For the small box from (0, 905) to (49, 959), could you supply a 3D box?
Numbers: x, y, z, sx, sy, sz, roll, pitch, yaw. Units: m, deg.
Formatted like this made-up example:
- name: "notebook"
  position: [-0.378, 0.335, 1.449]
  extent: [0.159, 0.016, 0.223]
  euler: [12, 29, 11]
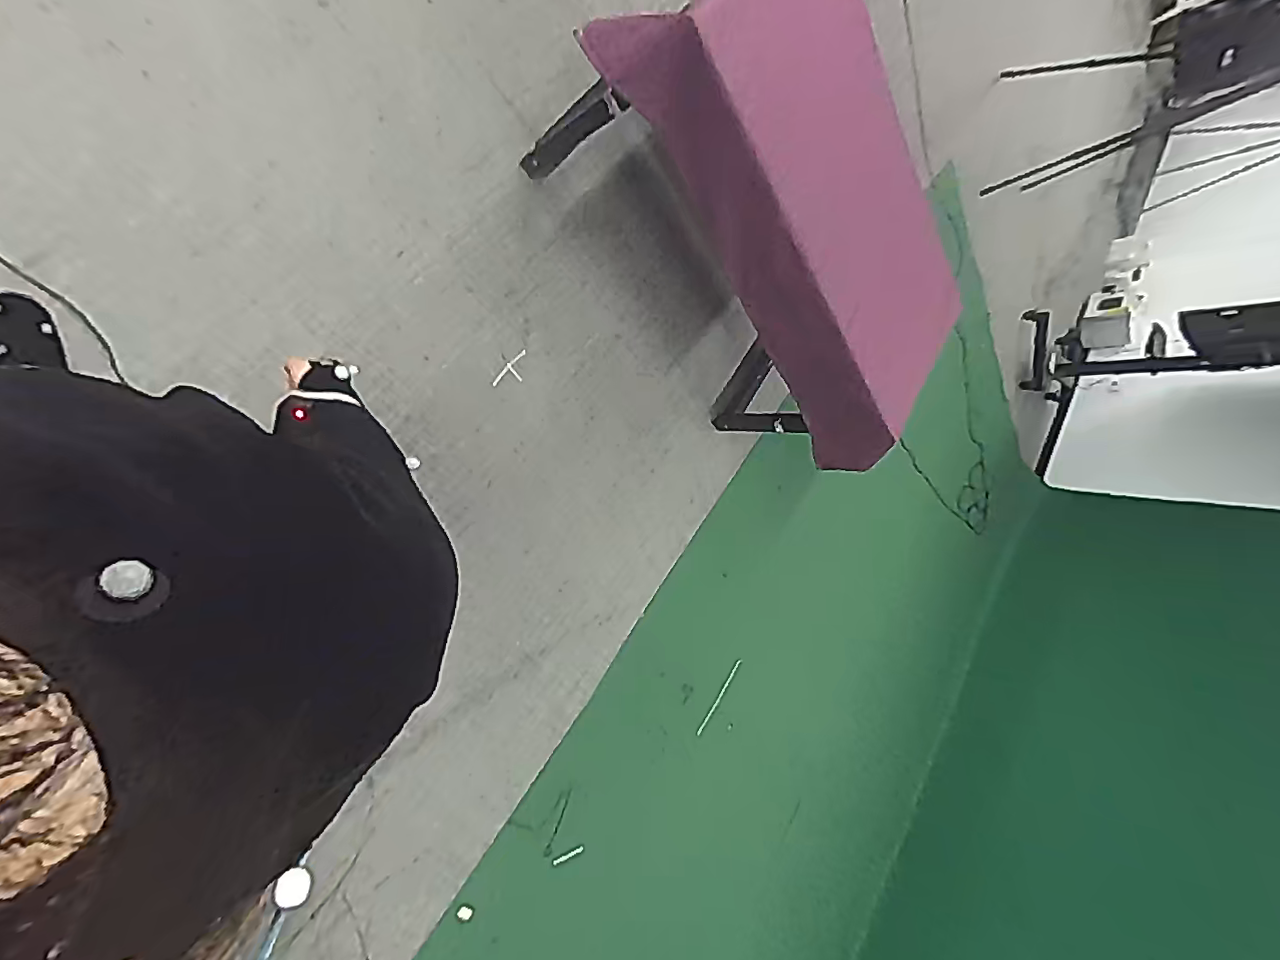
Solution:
- name: "small box"
  position: [-0.939, 0.695, 0.698]
  extent: [0.179, 0.176, 0.168]
  euler: [-51, 124, -22]

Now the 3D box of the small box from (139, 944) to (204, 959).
- name: "small box"
  position: [-0.784, 0.901, 0.848]
  extent: [0.179, 0.176, 0.168]
  euler: [-45, 122, -24]
